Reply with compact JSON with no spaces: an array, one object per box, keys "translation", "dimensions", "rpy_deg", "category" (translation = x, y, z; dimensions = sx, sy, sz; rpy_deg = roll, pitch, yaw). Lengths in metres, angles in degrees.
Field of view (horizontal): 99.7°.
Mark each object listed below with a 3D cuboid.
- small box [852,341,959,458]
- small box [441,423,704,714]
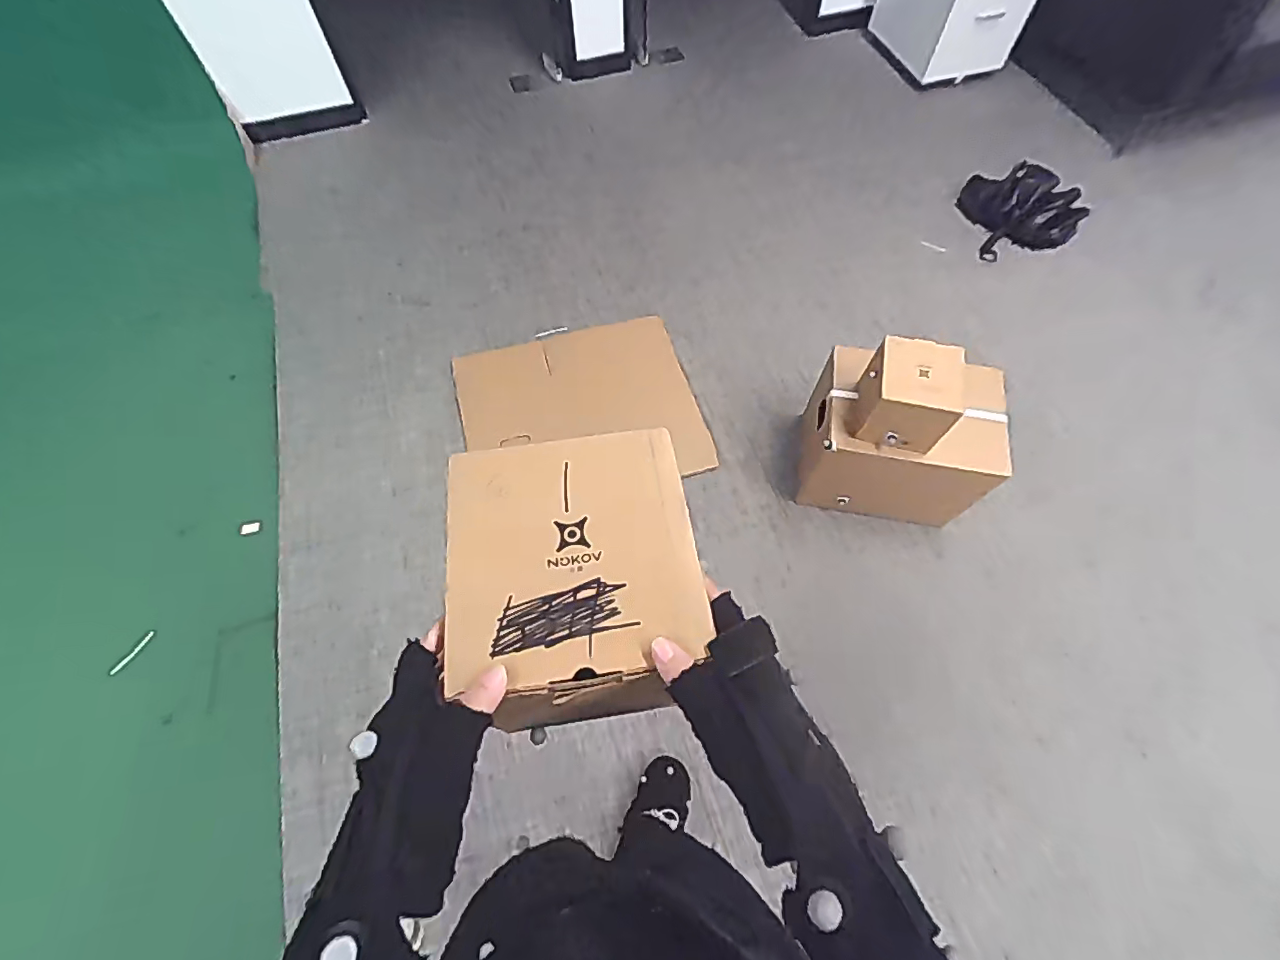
[{"translation":[0.582,-0.175,1.200],"dimensions":[0.168,0.176,0.179],"rpy_deg":[11,65,8],"category":"small box"},{"translation":[-0.049,0.081,0.436],"dimensions":[0.168,0.176,0.179],"rpy_deg":[-8,59,-4],"category":"small box"}]
